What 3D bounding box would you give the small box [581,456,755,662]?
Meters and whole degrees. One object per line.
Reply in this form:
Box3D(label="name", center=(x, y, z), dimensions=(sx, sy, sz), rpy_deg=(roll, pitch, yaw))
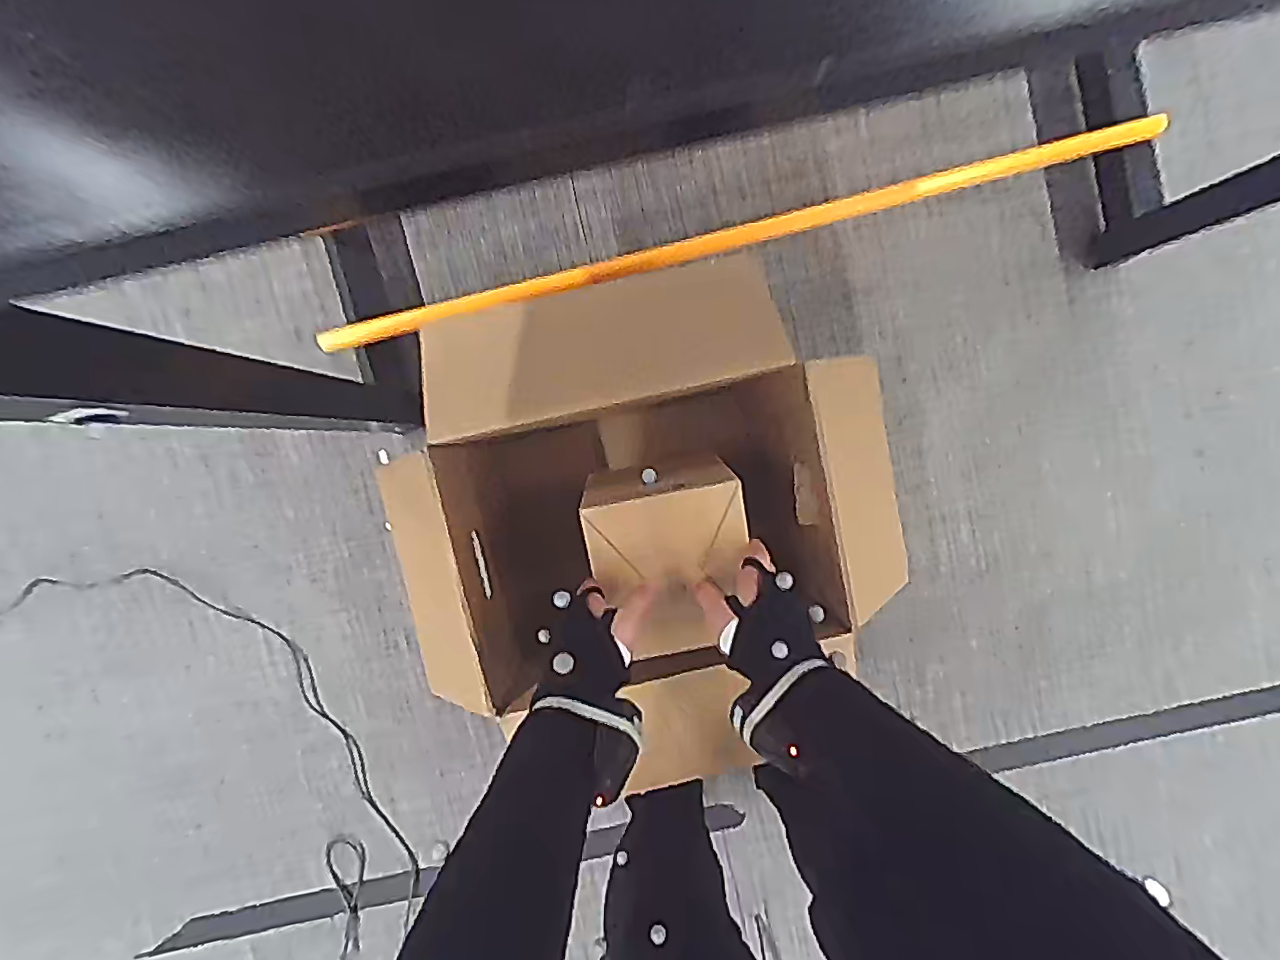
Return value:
Box3D(label="small box", center=(0.029, 0.084, 0.629), dimensions=(0.168, 0.176, 0.179), rpy_deg=(-10, 104, 0))
